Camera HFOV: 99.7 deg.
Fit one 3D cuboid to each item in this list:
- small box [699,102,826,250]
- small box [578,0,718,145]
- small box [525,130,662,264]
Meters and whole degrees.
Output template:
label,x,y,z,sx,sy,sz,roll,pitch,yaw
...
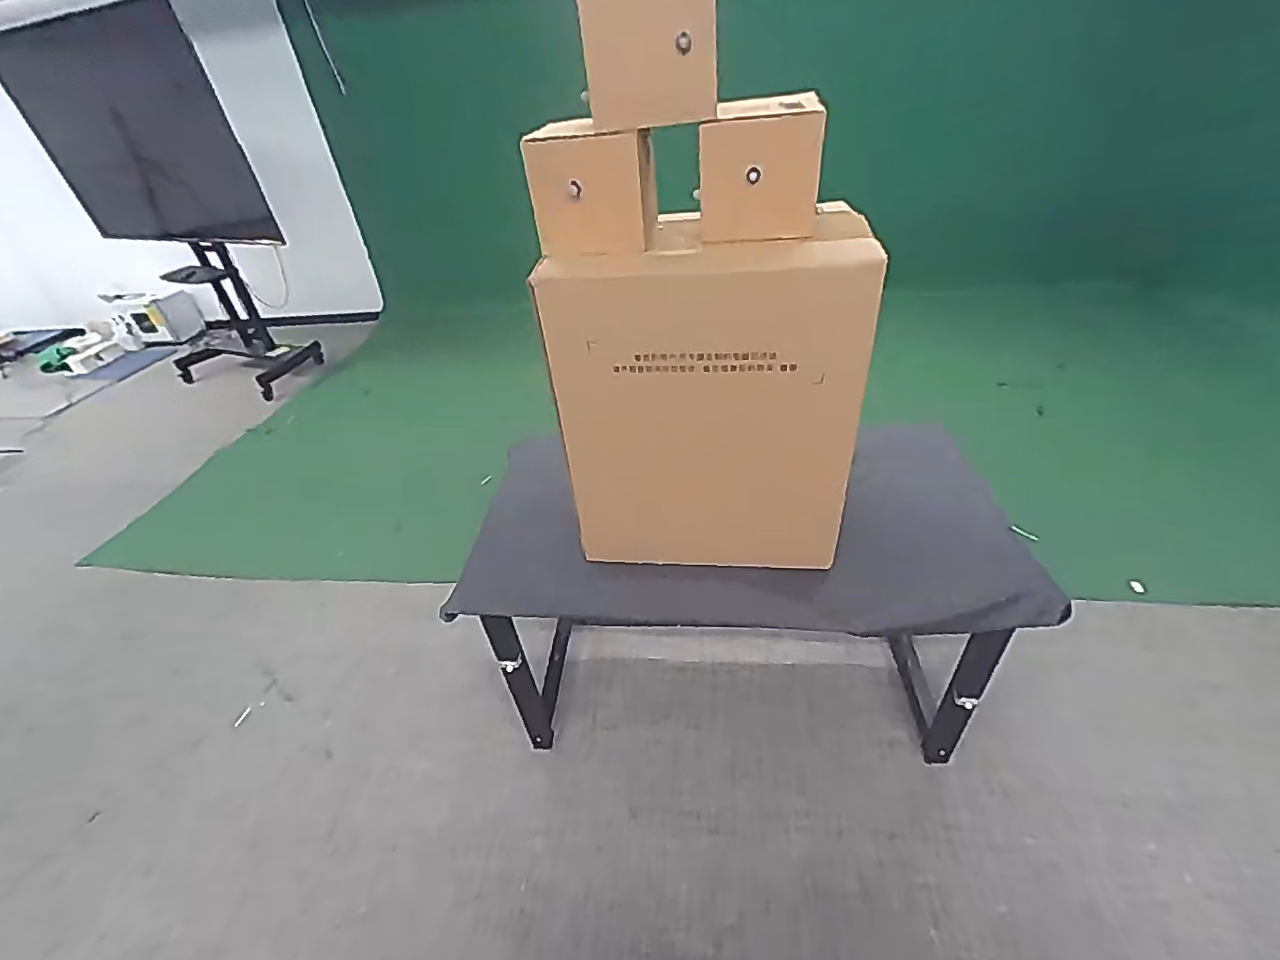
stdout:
label,x,y,z,sx,sy,sz,roll,pitch,yaw
small box,0.191,-0.482,0.863,0.179,0.176,0.168,0,41,11
small box,0.015,-0.595,0.775,0.179,0.176,0.168,-7,38,3
small box,-0.065,-0.466,0.890,0.179,0.176,0.168,1,41,10
